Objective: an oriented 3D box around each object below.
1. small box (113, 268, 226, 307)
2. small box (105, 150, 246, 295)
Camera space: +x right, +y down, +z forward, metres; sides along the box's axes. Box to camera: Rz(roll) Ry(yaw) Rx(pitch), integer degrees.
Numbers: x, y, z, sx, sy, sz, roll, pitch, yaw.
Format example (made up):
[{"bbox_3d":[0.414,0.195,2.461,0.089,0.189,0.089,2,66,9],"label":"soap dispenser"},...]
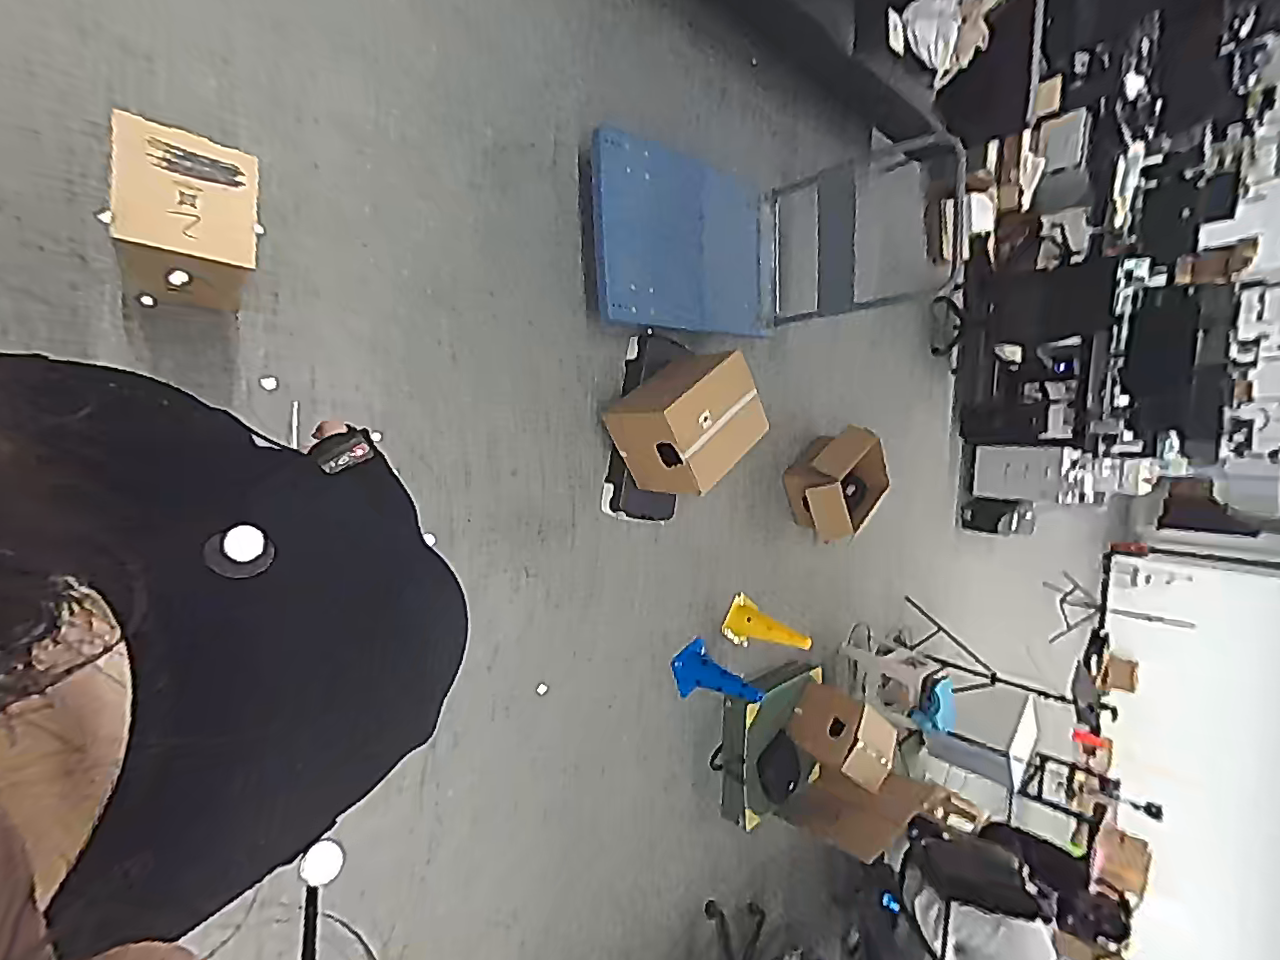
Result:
[{"bbox_3d":[-0.934,-0.460,1.085,0.168,0.176,0.179,2,92,-42],"label":"small box"},{"bbox_3d":[-0.823,-0.441,0.964,0.179,0.176,0.168,2,93,-42],"label":"small box"}]
